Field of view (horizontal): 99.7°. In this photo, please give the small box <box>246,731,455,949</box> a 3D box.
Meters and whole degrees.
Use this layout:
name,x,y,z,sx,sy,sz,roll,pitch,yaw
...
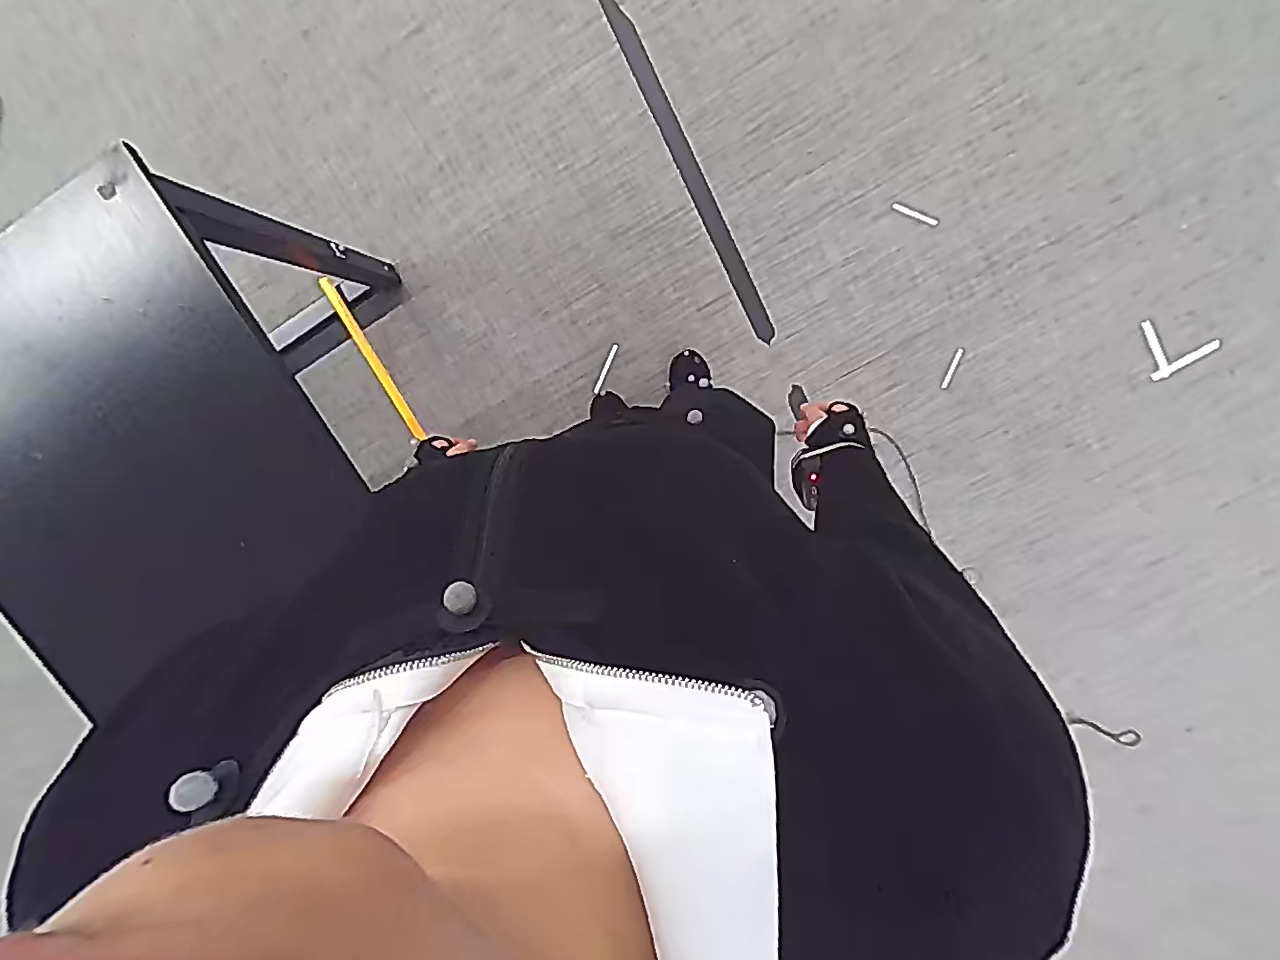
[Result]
name,x,y,z,sx,sy,sz,roll,pitch,yaw
small box,-0.405,0.513,0.792,0.168,0.176,0.179,-29,98,7
